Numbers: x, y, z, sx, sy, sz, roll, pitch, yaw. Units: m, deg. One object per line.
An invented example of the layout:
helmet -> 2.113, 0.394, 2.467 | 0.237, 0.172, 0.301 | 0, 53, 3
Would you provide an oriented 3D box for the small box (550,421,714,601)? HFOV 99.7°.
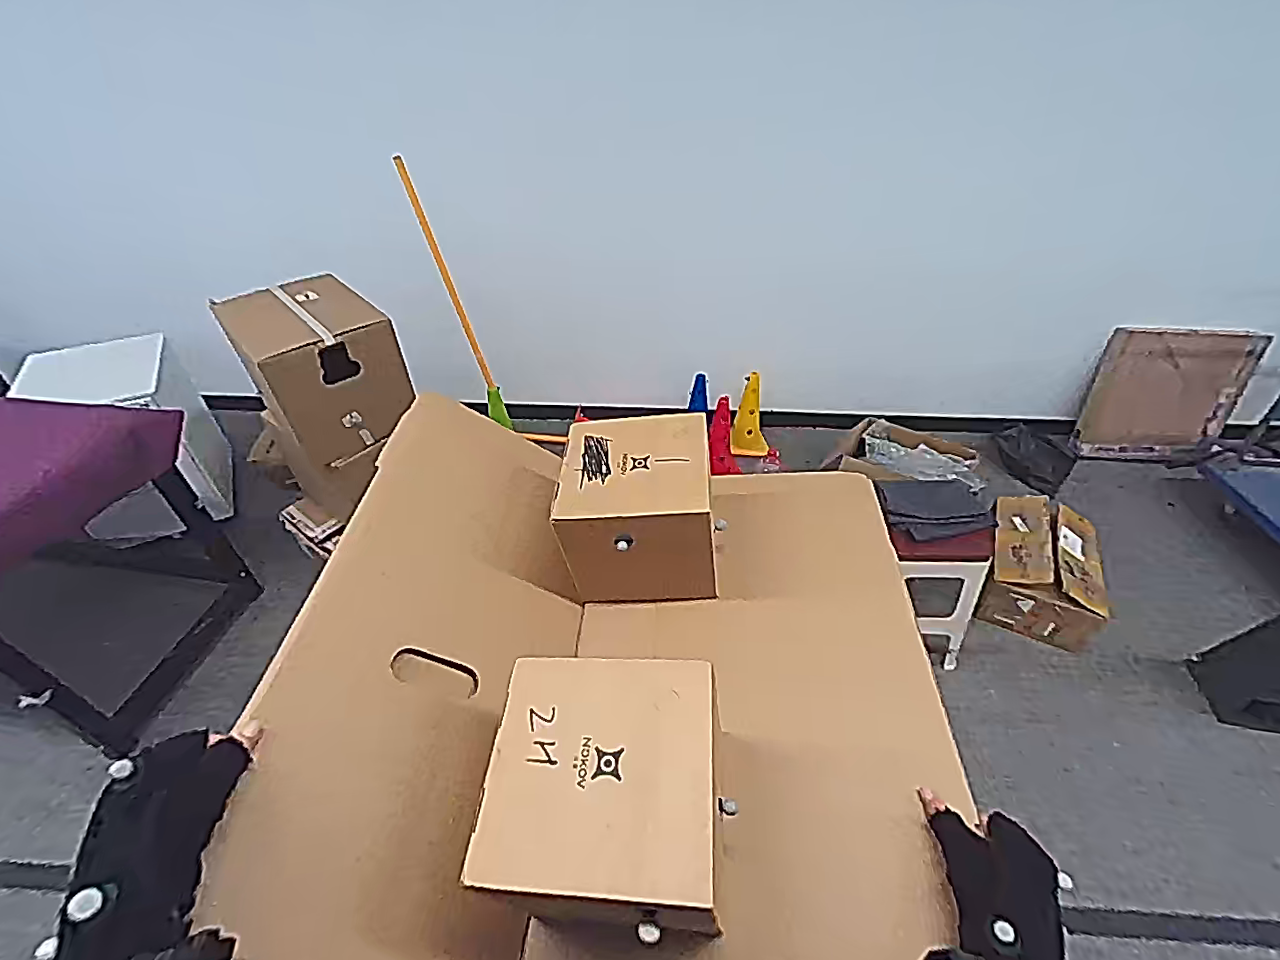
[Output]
small box -> 0.002, 0.044, 0.698 | 0.179, 0.176, 0.168 | -3, 46, 8
